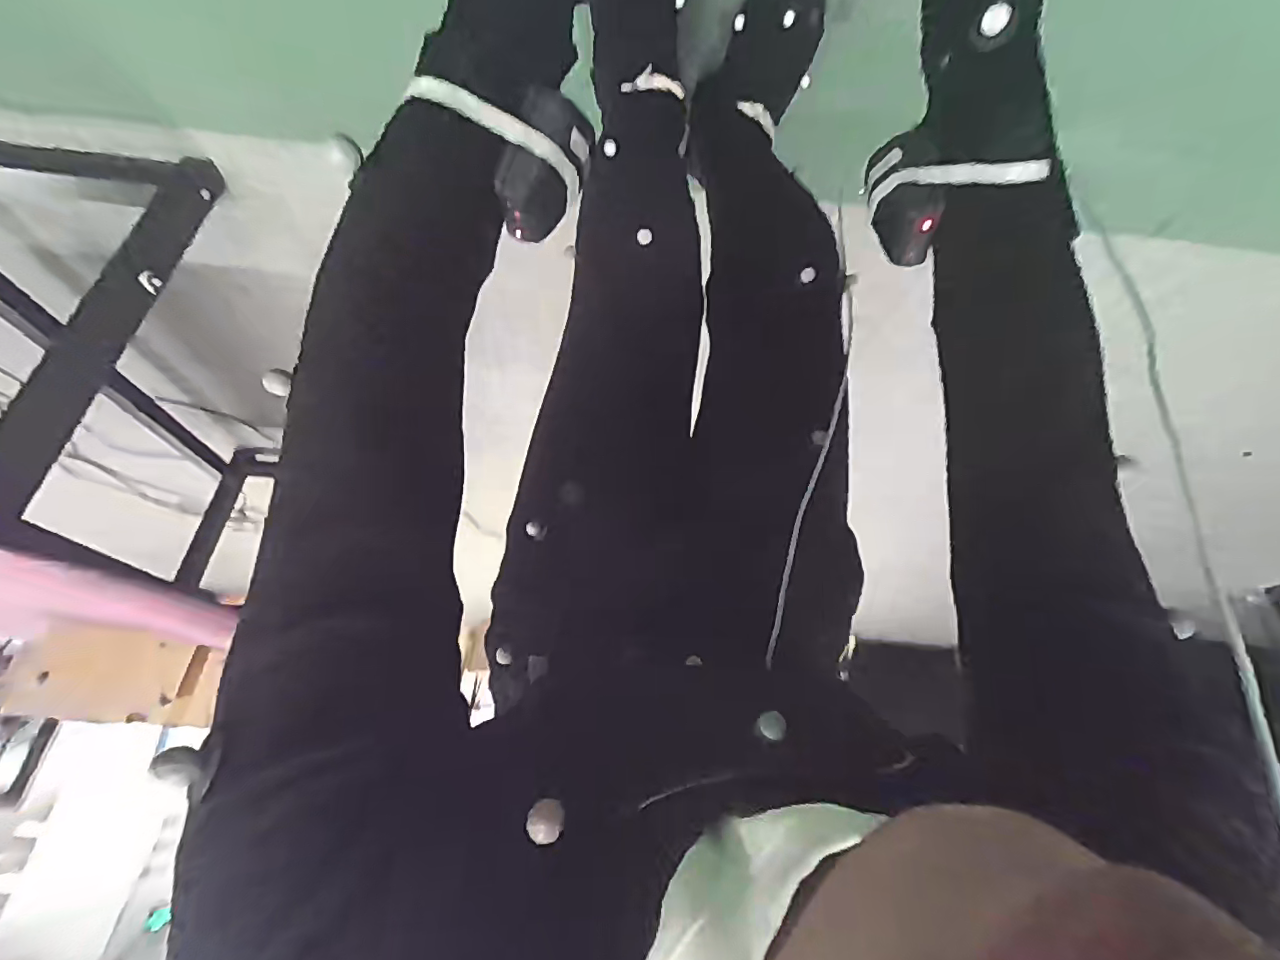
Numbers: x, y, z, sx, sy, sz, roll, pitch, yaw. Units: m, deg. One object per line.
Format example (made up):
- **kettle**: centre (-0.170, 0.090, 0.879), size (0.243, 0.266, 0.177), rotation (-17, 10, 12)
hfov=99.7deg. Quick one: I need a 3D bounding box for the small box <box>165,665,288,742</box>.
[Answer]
- **small box**: centre (-1.096, 0.598, 1.450), size (0.179, 0.176, 0.168), rotation (6, 152, -3)
